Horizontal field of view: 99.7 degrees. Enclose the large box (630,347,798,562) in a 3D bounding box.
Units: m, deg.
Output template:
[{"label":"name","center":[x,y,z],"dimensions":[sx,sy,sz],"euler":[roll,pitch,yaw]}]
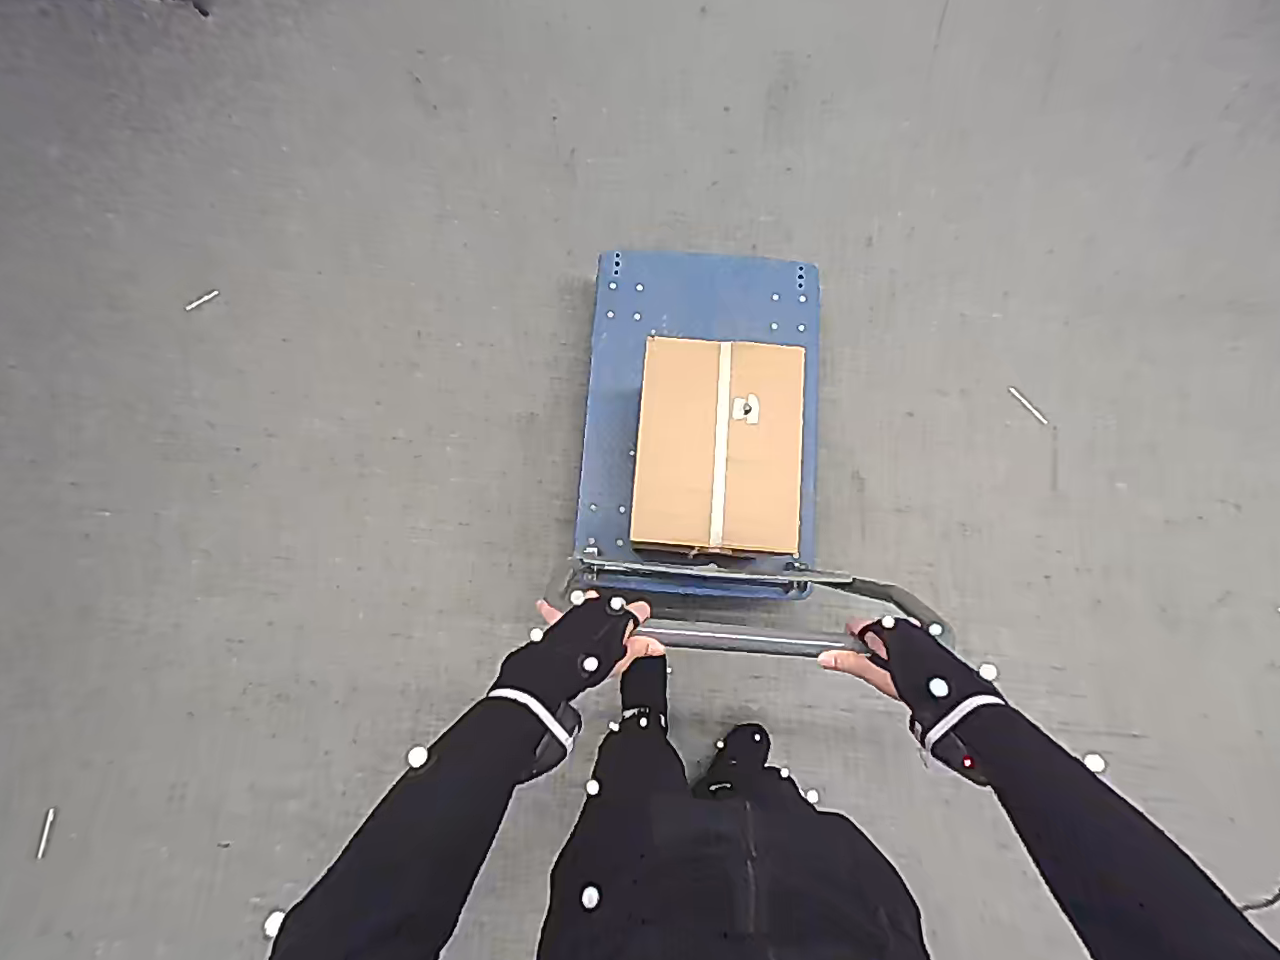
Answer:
[{"label":"large box","center":[0.148,-0.032,1.174],"dimensions":[0.320,0.320,0.408],"euler":[4,79,0]}]
